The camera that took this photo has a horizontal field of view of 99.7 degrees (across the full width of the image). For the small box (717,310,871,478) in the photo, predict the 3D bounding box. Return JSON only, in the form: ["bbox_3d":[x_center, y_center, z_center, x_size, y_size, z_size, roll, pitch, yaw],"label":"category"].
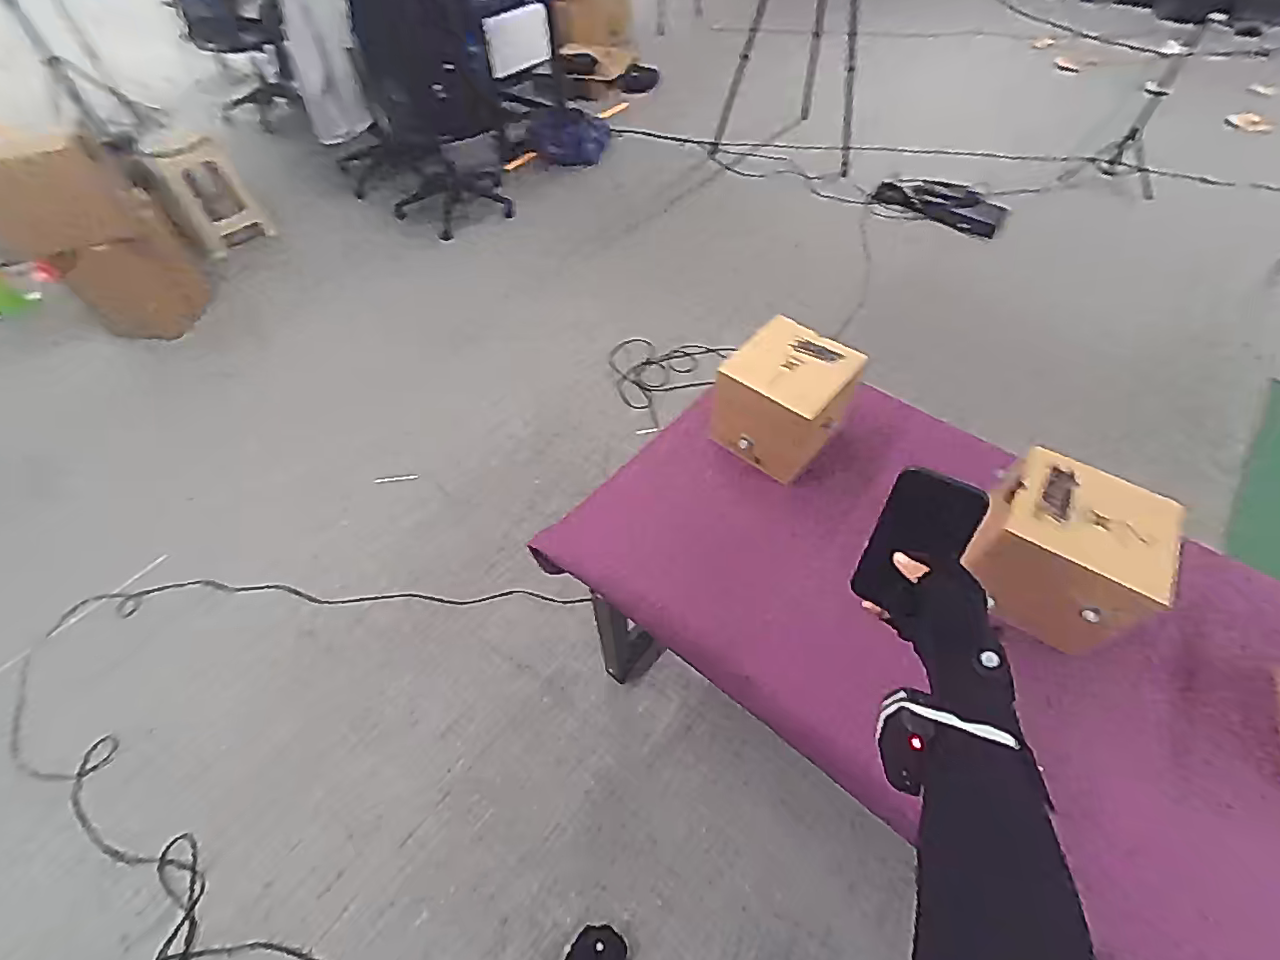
[{"bbox_3d":[0.241,-0.140,0.890,0.168,0.176,0.179,36,63,24],"label":"small box"}]
